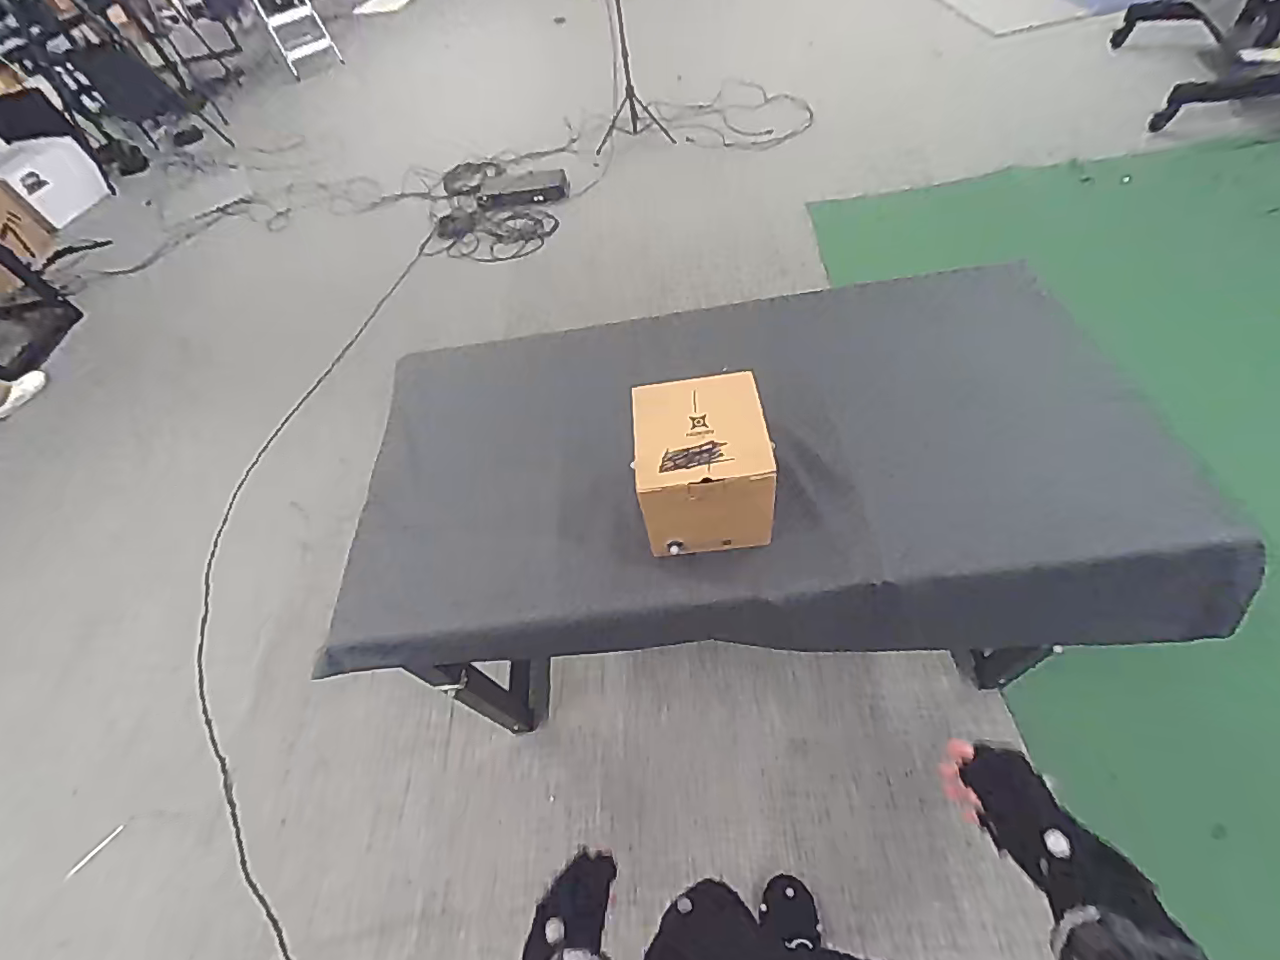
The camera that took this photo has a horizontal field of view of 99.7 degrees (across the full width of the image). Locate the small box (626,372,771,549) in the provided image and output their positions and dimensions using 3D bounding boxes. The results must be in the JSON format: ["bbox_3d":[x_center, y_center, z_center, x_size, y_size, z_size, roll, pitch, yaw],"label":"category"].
[{"bbox_3d":[0.081,-0.017,0.752,0.168,0.176,0.179,-10,55,4],"label":"small box"}]
